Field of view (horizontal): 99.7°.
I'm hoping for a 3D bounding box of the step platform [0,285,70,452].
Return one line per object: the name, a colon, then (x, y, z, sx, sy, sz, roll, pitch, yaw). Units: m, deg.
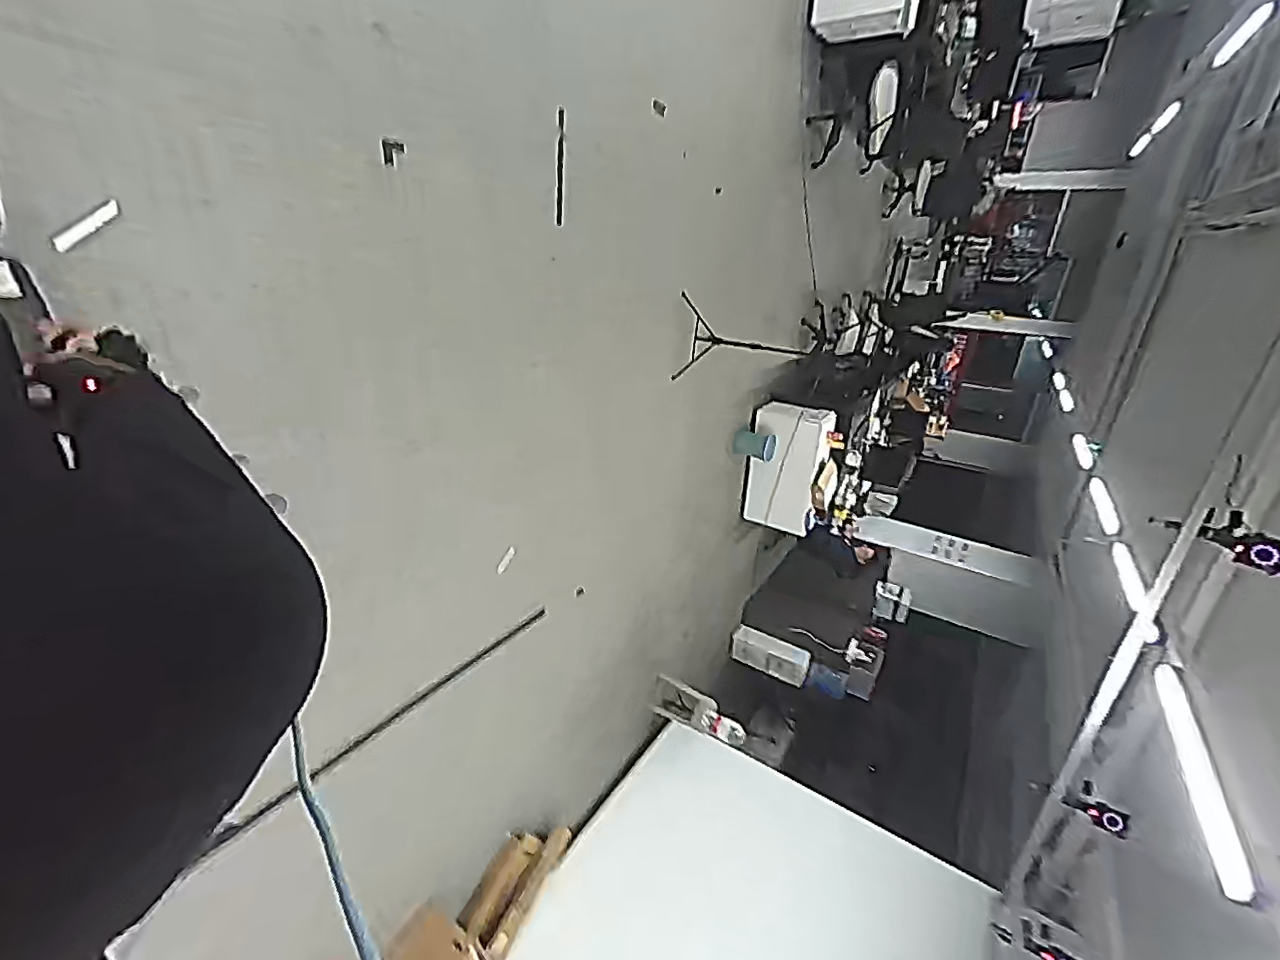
step platform: (-1.302, -0.150, 0.763, 0.684, 0.204, 0.286, -20, 120, -53)
